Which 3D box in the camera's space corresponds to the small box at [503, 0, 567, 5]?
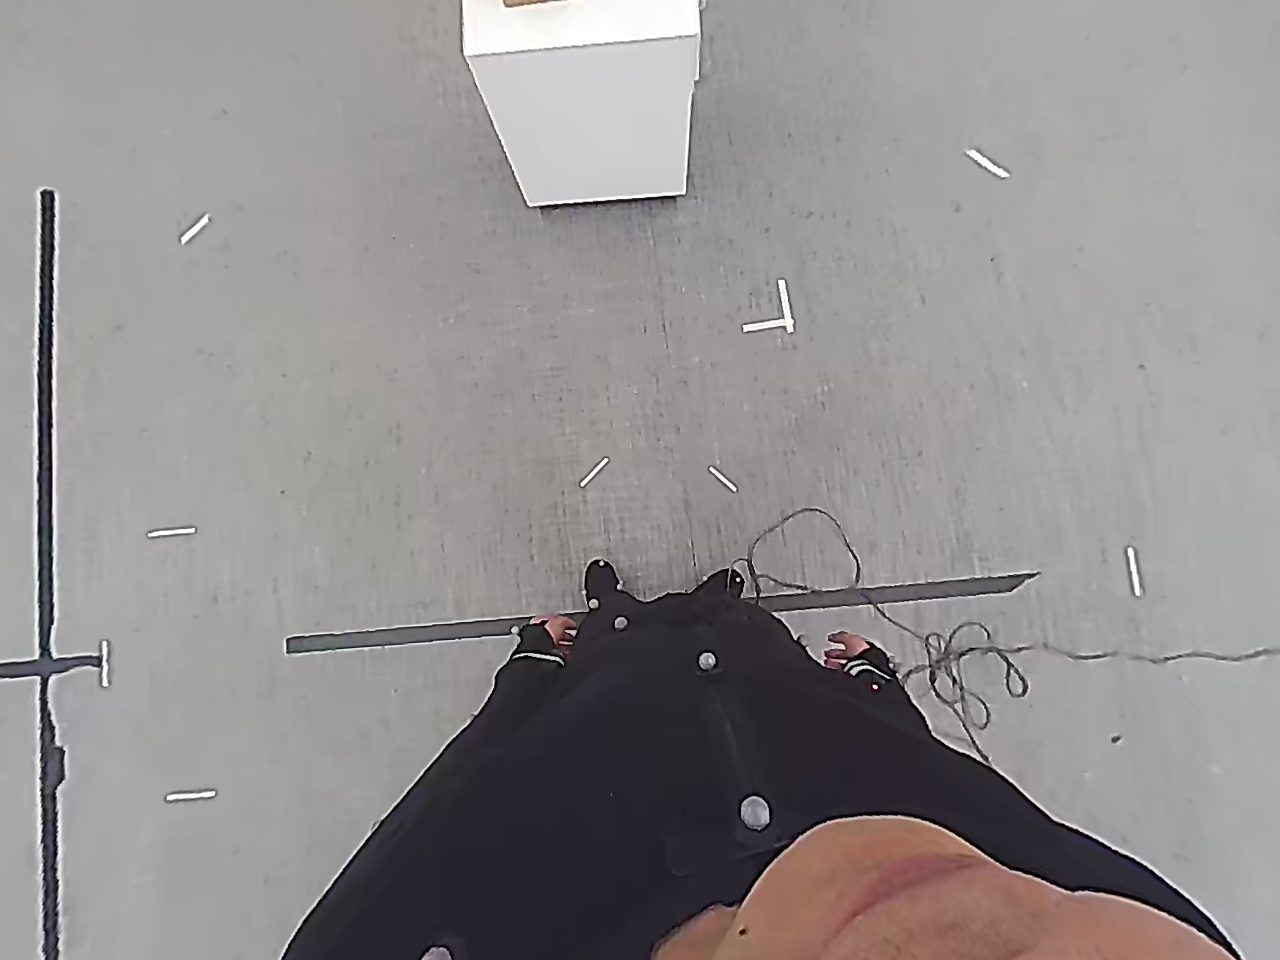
[{"bbox_3d":[-0.225,-1.134,1.116,0.179,0.176,0.168,-6,84,1],"label":"small box"}]
